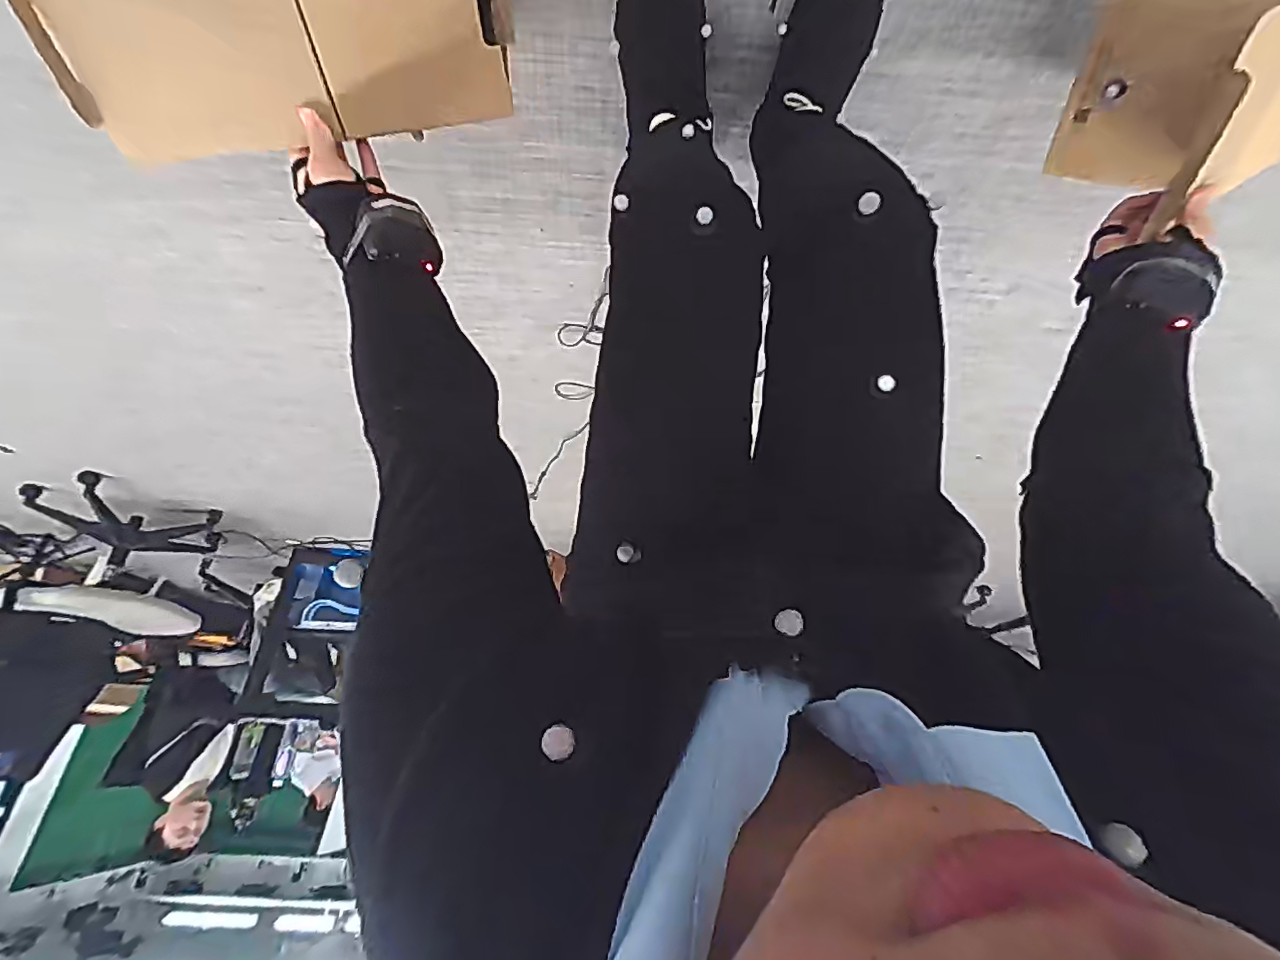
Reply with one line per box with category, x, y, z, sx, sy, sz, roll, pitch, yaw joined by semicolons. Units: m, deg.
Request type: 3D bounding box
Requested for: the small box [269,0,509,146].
small box;-0.255;-0.446;0.533;0.179;0.176;0.168;-25;136;-20
